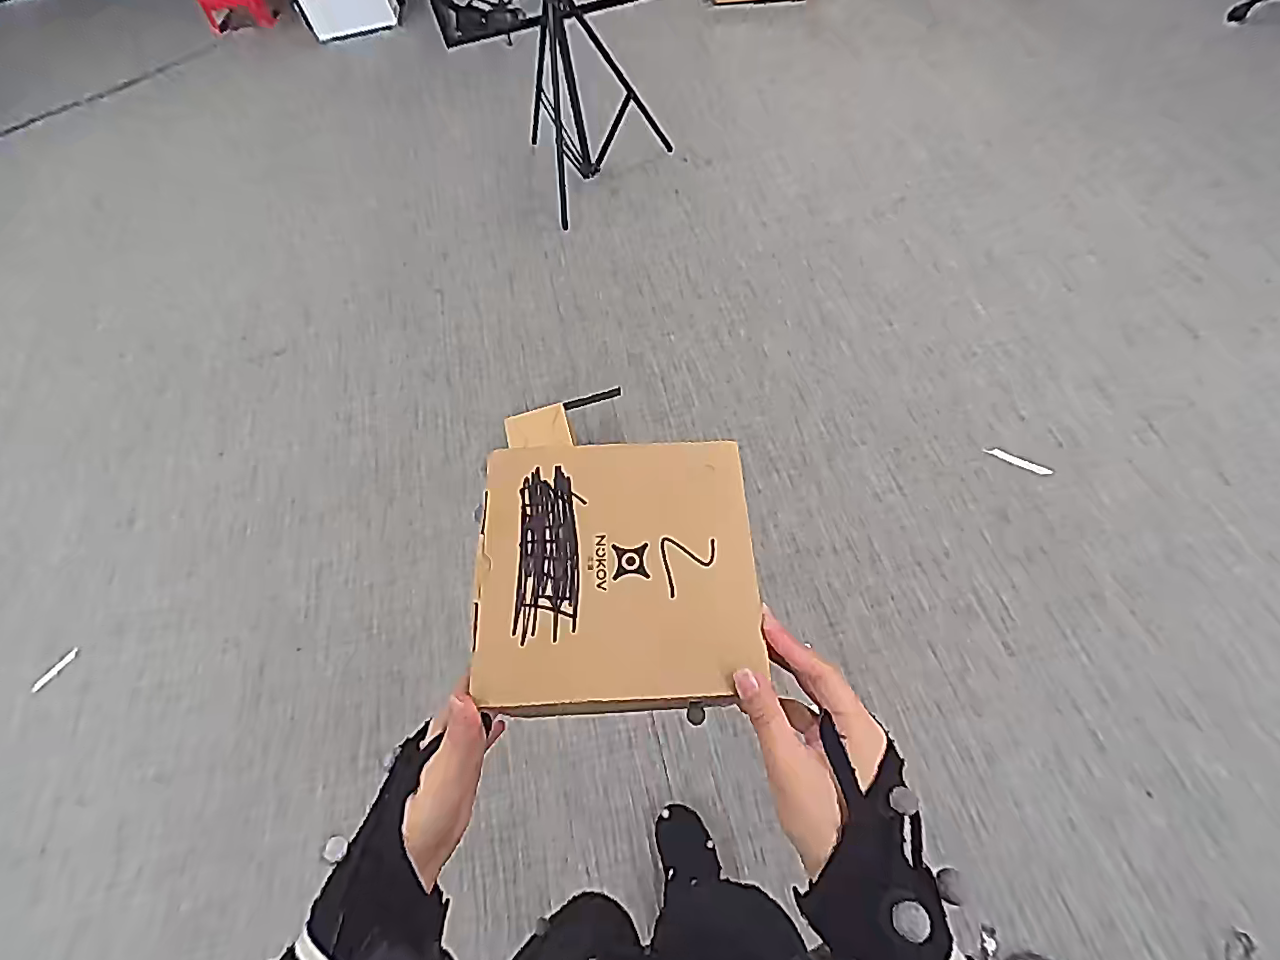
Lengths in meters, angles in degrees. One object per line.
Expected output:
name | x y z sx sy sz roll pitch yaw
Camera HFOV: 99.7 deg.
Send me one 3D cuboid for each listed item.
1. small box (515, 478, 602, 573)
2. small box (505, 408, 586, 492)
small box | -0.202 0.120 1.386 0.179 0.176 0.168 -16 62 -1
small box | -0.261 -0.071 1.488 0.168 0.176 0.179 -17 62 -2
